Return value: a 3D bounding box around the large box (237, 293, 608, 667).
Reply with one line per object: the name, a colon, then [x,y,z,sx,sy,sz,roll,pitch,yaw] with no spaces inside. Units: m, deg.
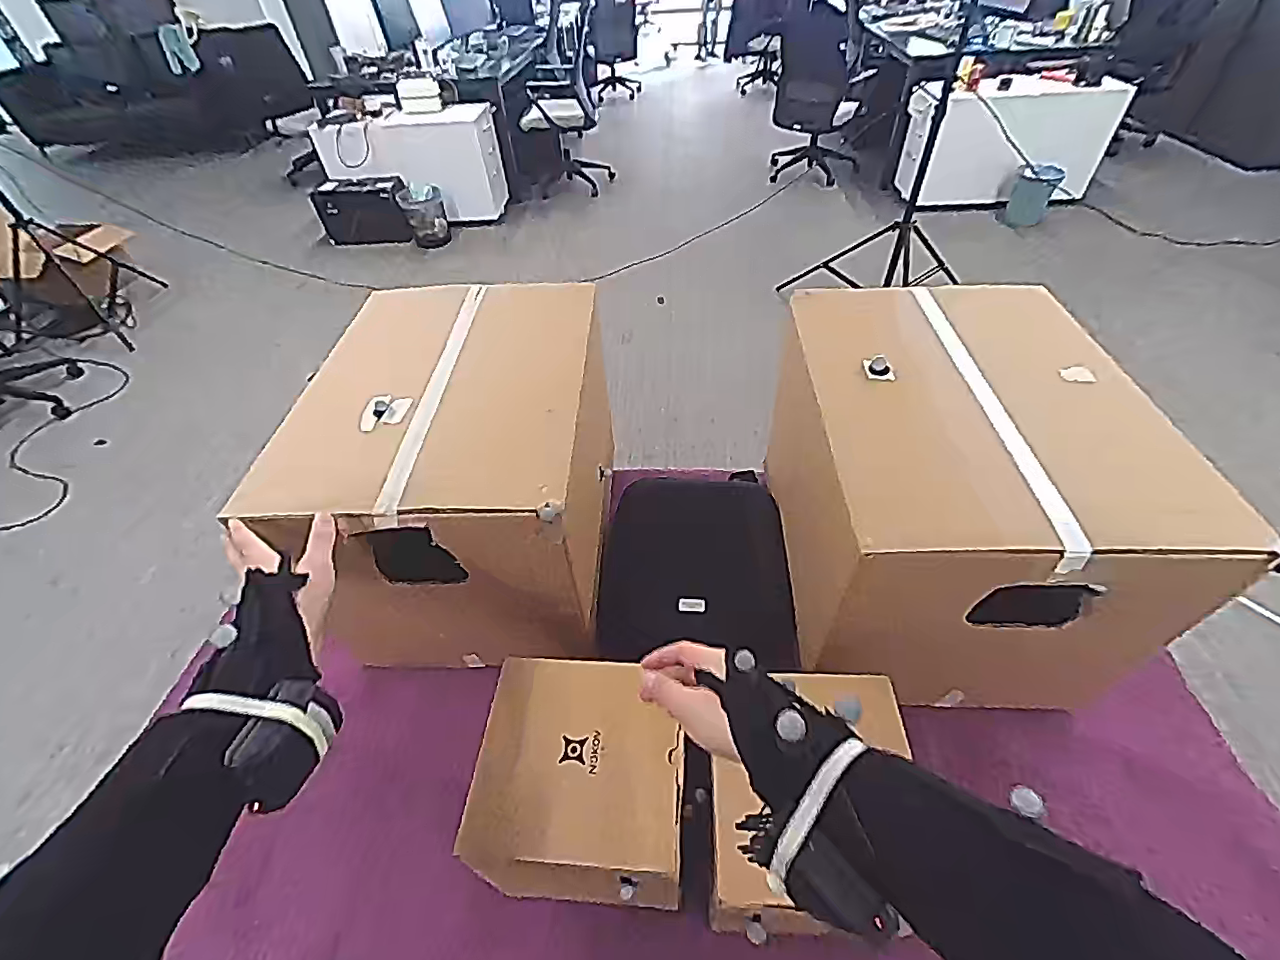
large box: [-0.209,-0.005,0.723,0.320,0.320,0.408,-2,48,3]
